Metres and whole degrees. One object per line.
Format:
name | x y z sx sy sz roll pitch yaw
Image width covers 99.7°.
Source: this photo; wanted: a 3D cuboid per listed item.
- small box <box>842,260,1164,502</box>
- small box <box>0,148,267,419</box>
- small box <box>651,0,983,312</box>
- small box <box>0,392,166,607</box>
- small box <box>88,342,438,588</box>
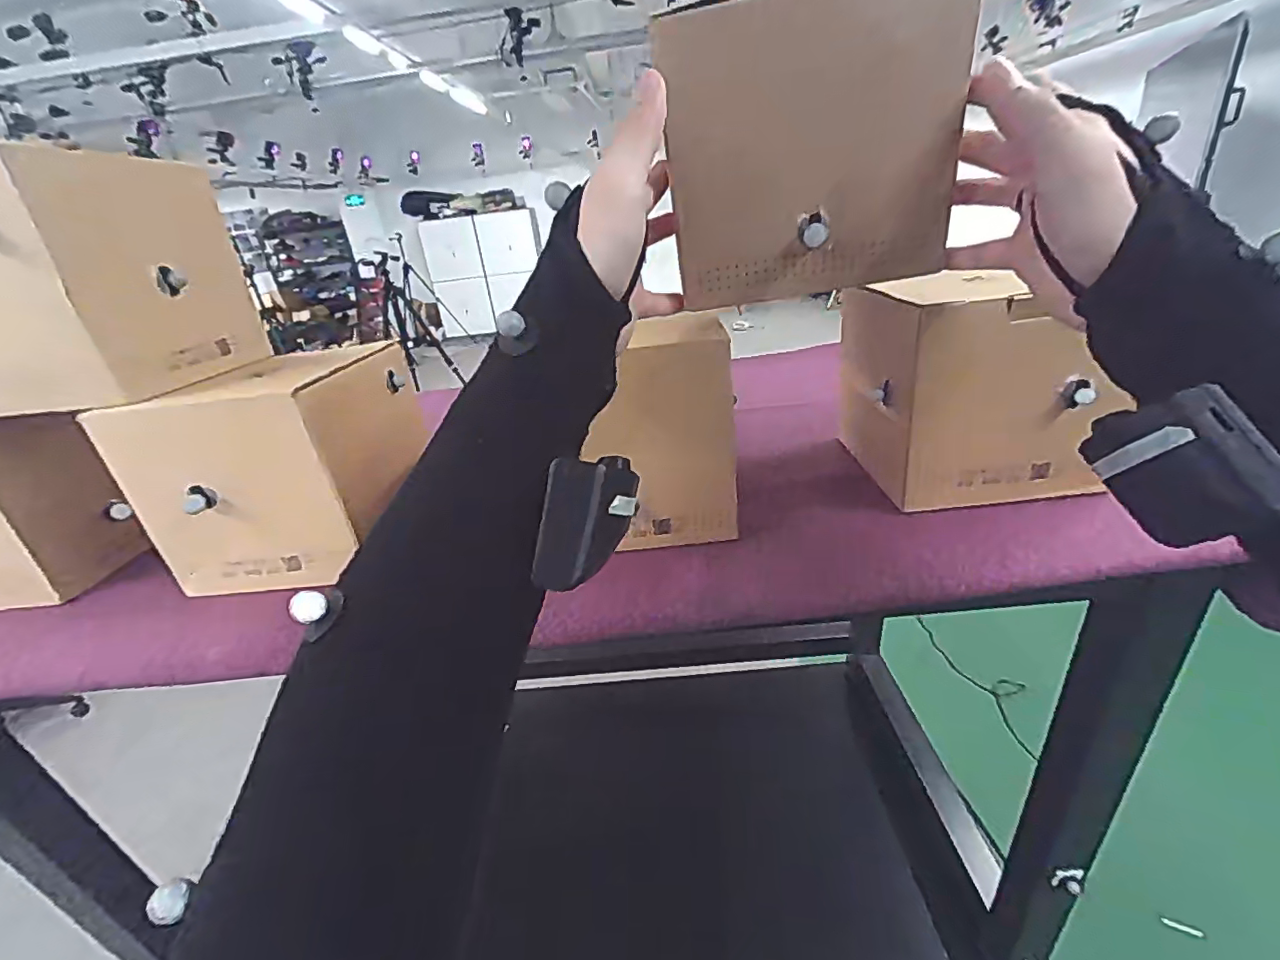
small box | 0.287 -0.088 0.477 0.168 0.176 0.179 -6 25 5
small box | -0.456 -0.155 0.438 0.179 0.176 0.168 -4 25 5
small box | 0.107 -0.237 0.391 0.179 0.176 0.168 -7 34 7
small box | -0.588 0.008 0.513 0.179 0.176 0.168 -5 26 3
small box | -0.307 -0.014 0.492 0.168 0.176 0.179 -6 25 5
